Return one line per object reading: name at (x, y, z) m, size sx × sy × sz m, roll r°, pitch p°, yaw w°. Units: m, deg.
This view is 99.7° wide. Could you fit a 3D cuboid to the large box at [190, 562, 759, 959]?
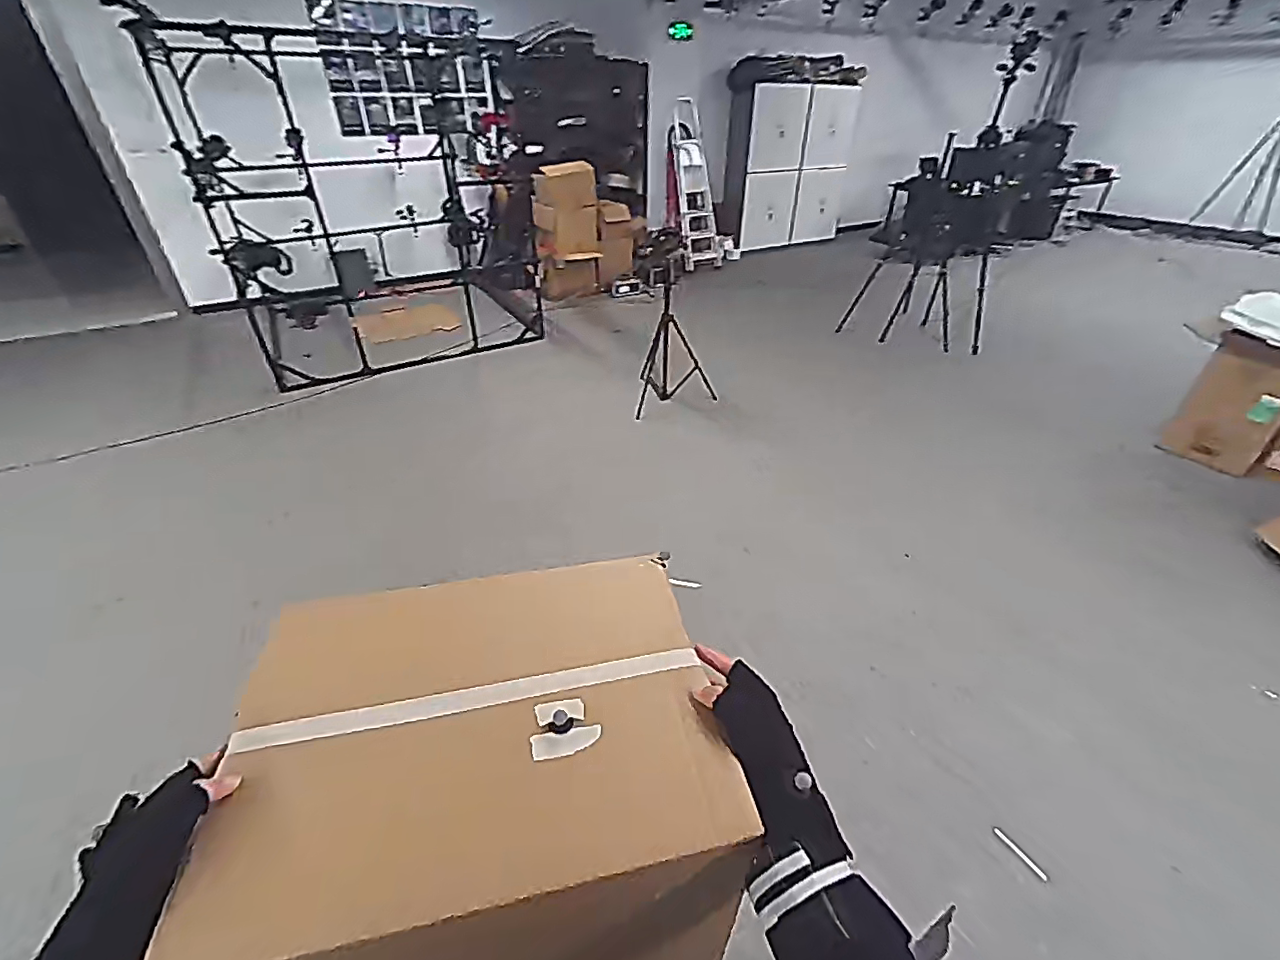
large box at (-0.135, 0.327, 0.585) m, size 0.408 × 0.320 × 0.320 m, roll -6°, pitch 35°, yaw -11°
